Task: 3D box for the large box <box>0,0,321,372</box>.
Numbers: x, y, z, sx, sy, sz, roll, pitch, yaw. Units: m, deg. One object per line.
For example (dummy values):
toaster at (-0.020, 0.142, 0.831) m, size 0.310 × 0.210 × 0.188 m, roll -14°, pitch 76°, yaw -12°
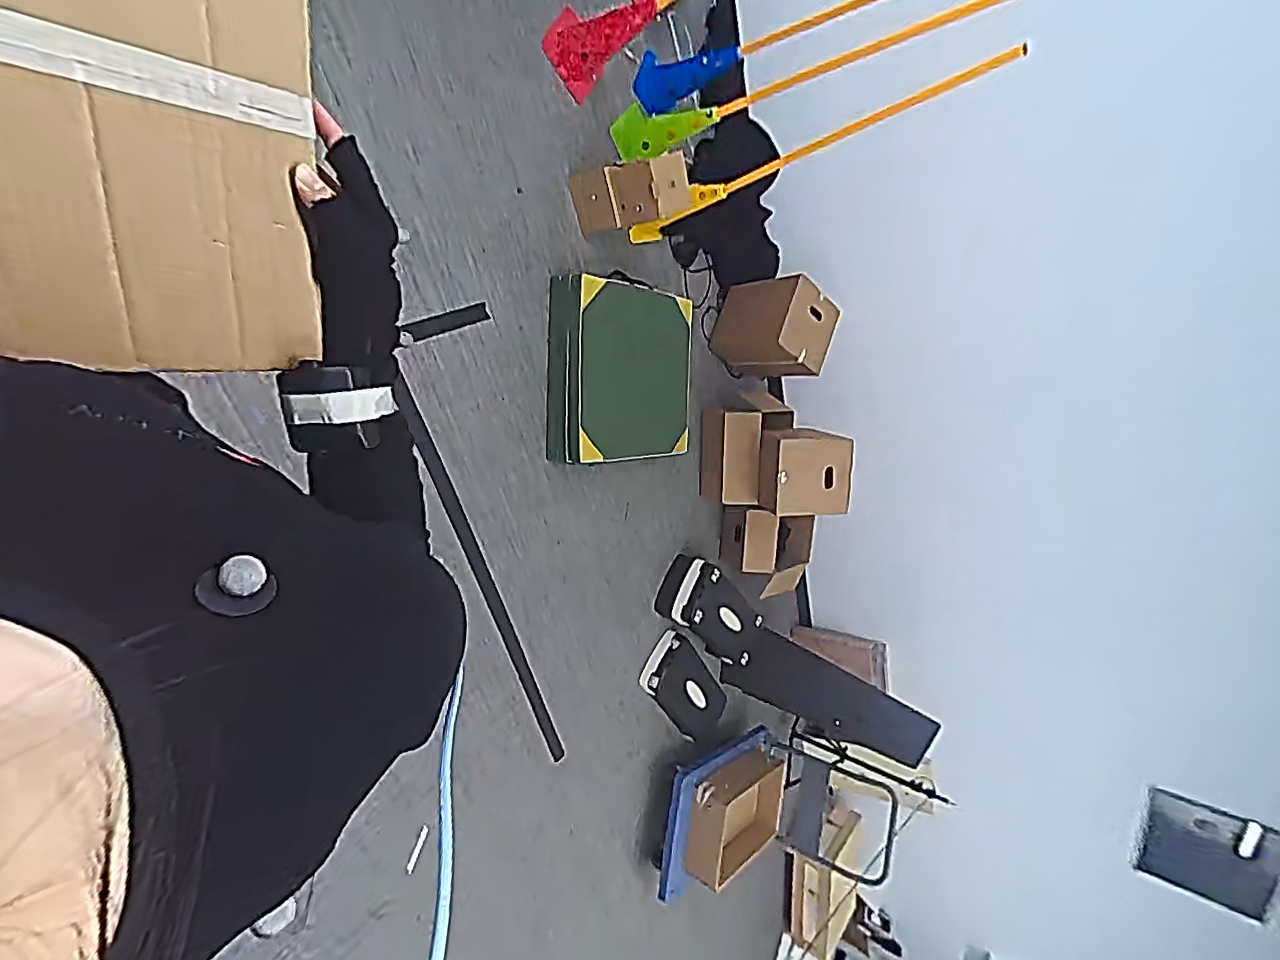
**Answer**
large box at (-0.455, -0.252, 0.302) m, size 0.408 × 0.320 × 0.320 m, roll -12°, pitch 125°, yaw -43°
